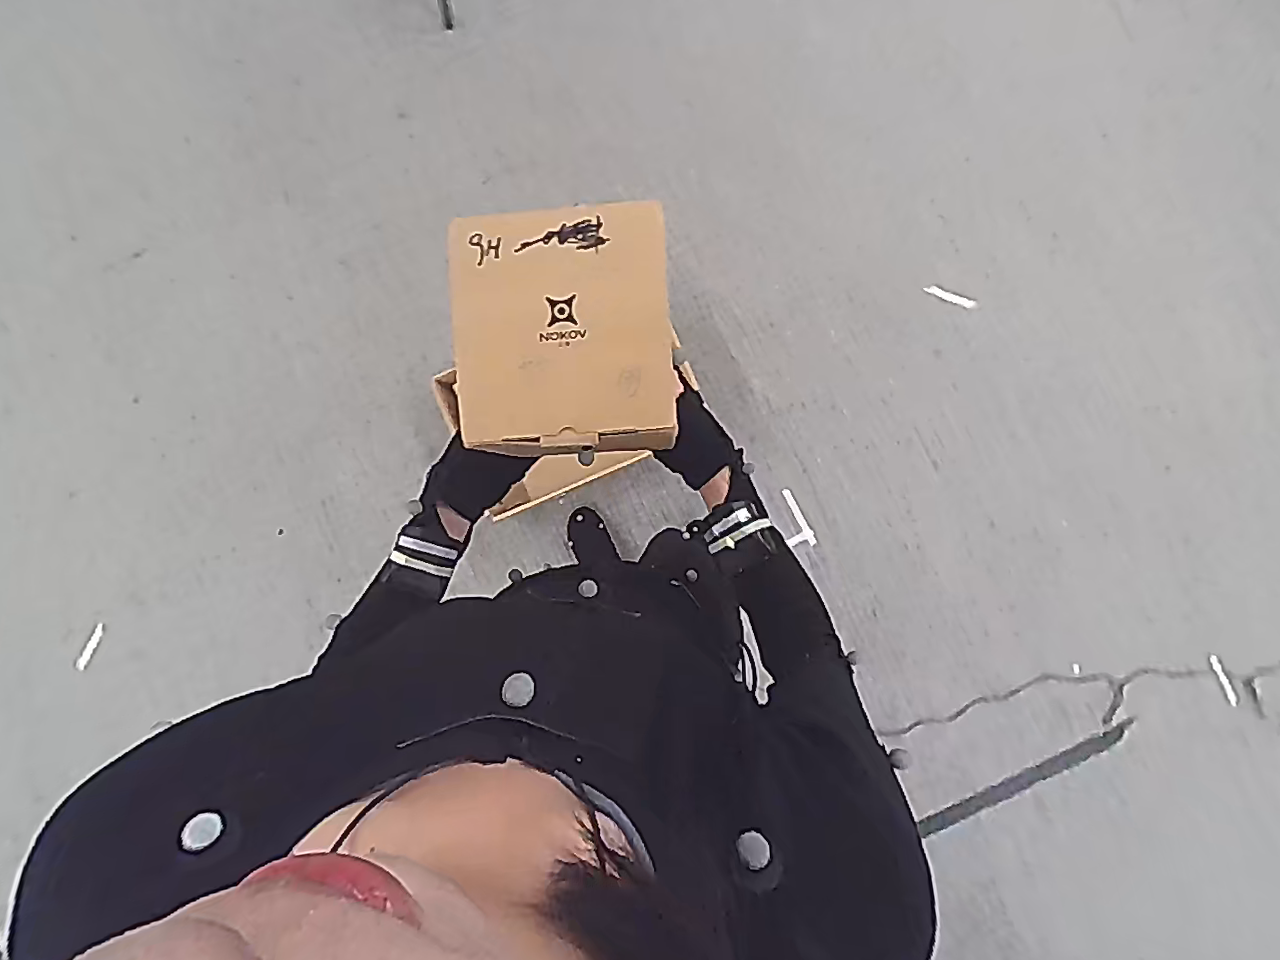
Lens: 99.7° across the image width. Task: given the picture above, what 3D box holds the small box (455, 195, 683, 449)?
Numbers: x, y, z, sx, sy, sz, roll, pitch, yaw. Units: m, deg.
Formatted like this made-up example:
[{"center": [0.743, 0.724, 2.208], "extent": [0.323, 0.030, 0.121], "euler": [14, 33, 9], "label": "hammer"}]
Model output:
[{"center": [-0.047, -0.118, 0.476], "extent": [0.168, 0.176, 0.179], "euler": [-3, 90, 3], "label": "small box"}]
